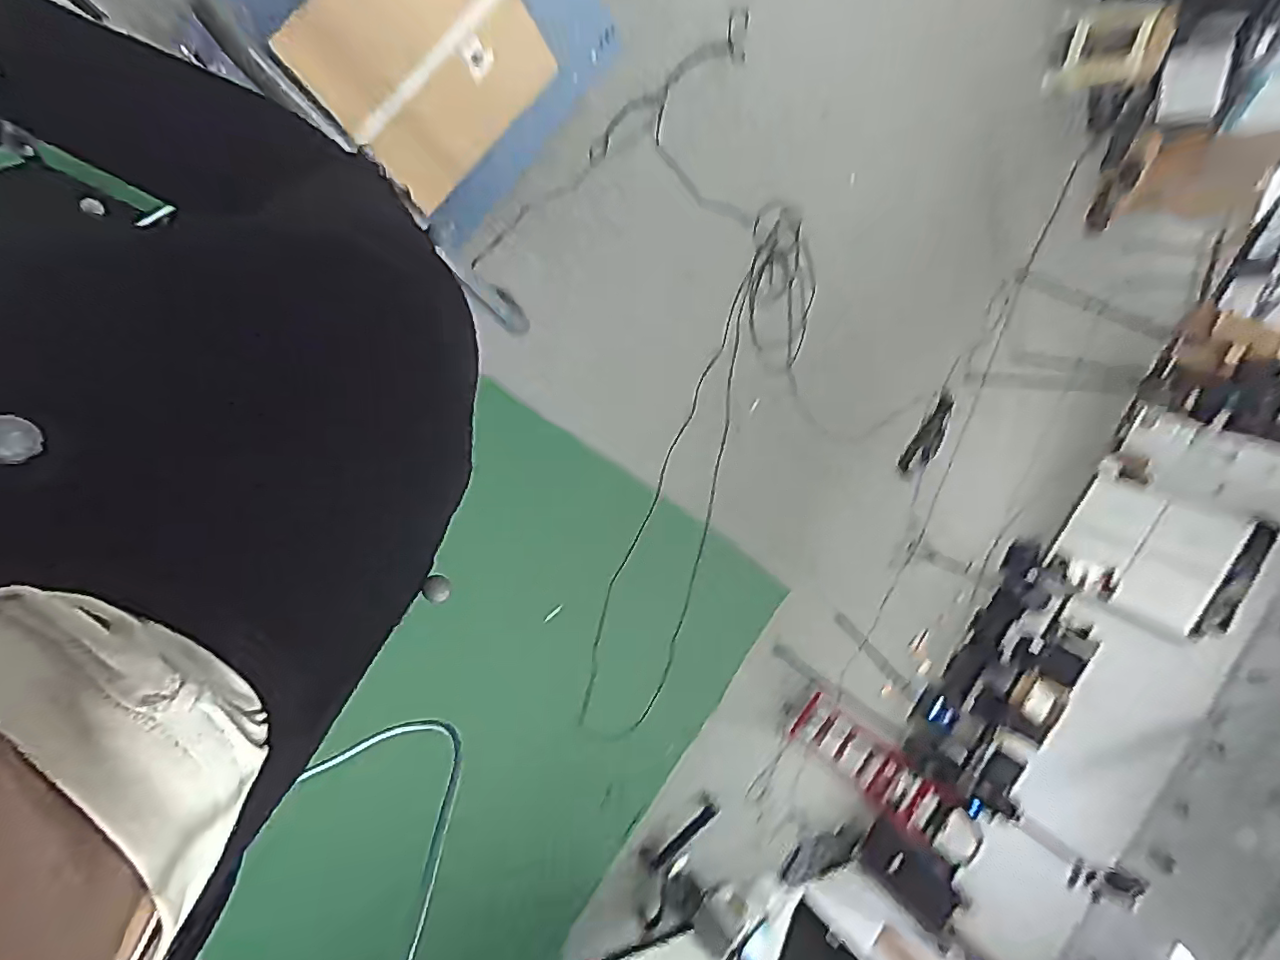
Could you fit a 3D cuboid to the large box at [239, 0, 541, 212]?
[{"bbox_3d":[-0.478,-0.787,1.041,0.408,0.320,0.320,-54,136,-7],"label":"large box"}]
